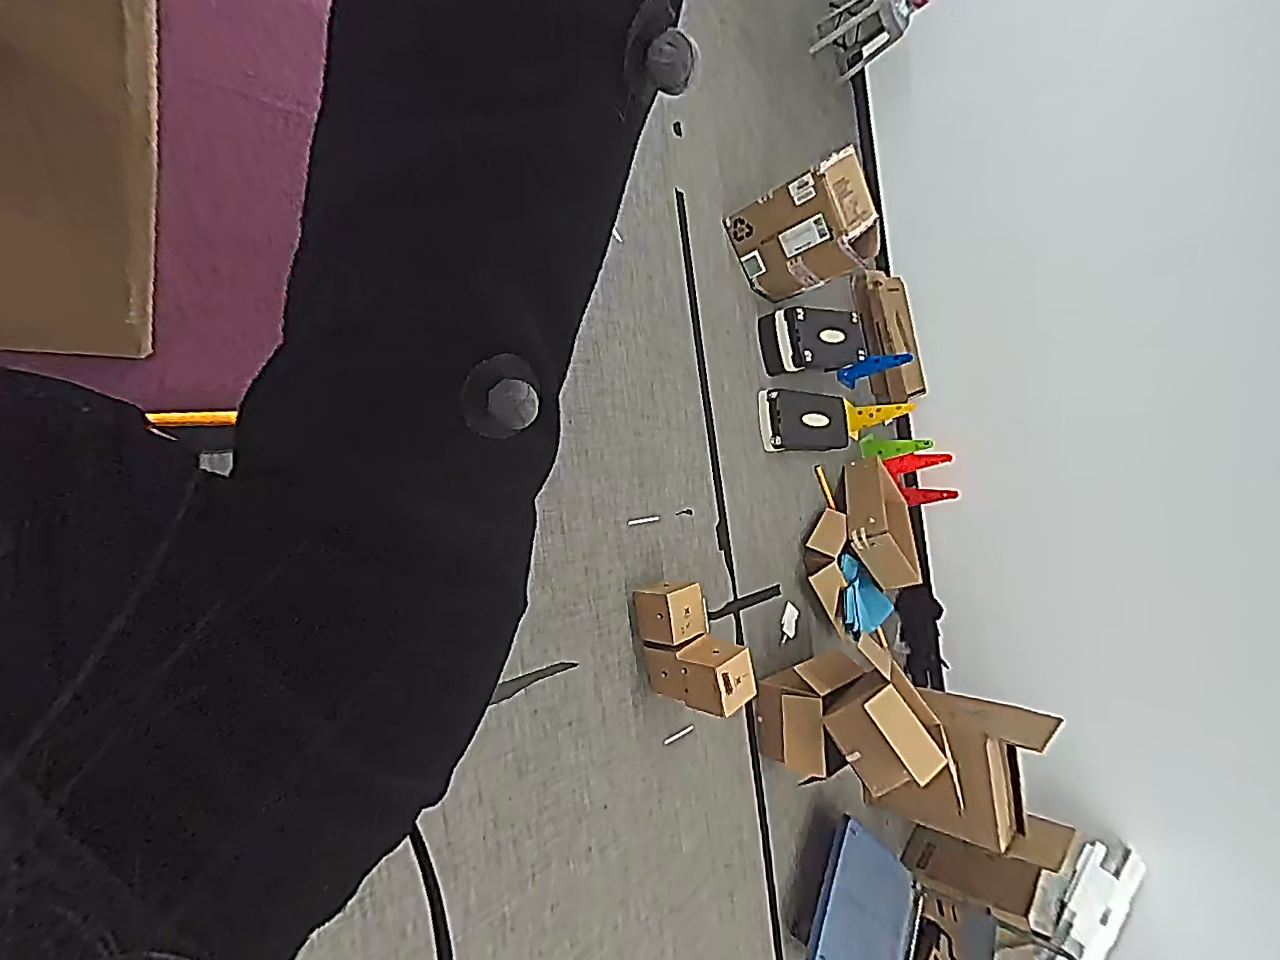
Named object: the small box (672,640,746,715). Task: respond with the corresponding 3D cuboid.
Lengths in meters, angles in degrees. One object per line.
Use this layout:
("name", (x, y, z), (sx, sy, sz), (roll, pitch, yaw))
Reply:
("small box", (0.222, 0.644, 1.783), (0.179, 0.176, 0.168), (-14, 95, -44))
